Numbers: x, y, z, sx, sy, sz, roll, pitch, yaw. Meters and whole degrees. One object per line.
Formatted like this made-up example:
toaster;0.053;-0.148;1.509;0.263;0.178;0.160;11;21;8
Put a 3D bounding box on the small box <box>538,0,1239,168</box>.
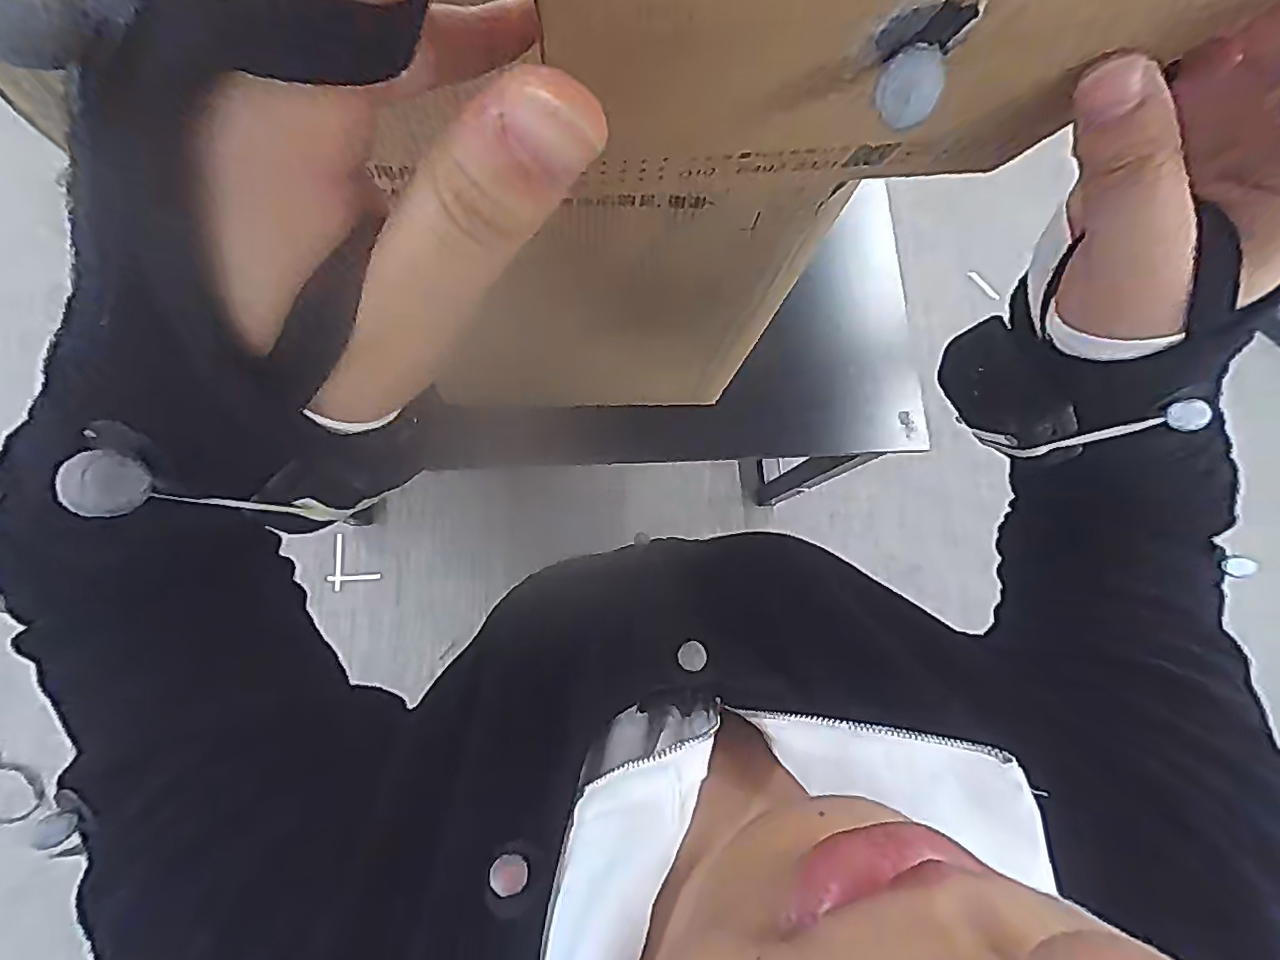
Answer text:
small box;0.054;-0.181;0.102;0.168;0.176;0.179;-7;98;-5
